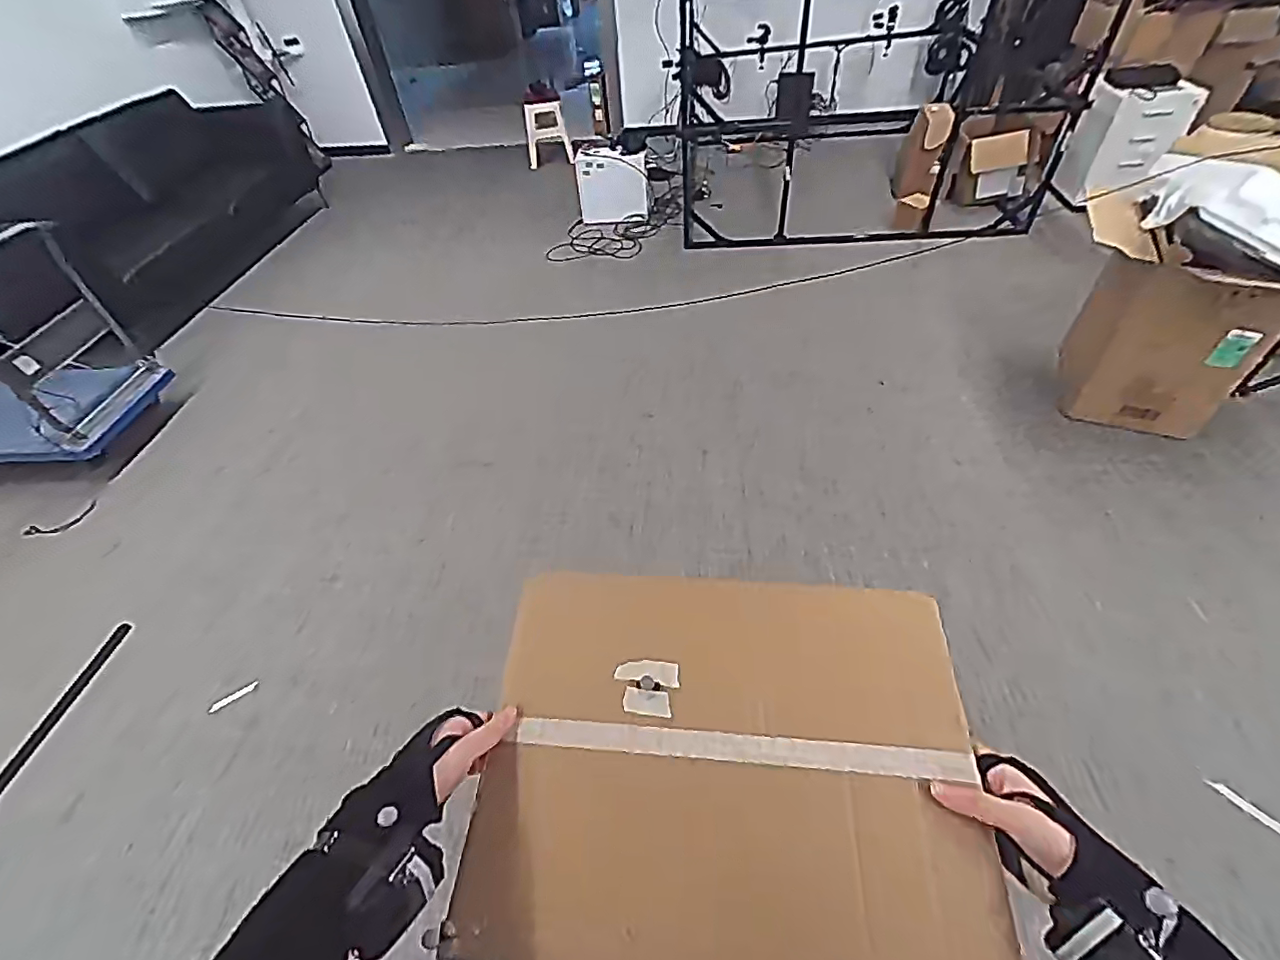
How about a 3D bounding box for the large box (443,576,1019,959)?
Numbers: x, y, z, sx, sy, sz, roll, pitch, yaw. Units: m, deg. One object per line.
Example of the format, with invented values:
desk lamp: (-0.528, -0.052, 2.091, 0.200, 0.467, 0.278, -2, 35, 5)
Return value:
large box: (0.083, 0.312, 0.569, 0.408, 0.320, 0.320, 1, 53, 8)
